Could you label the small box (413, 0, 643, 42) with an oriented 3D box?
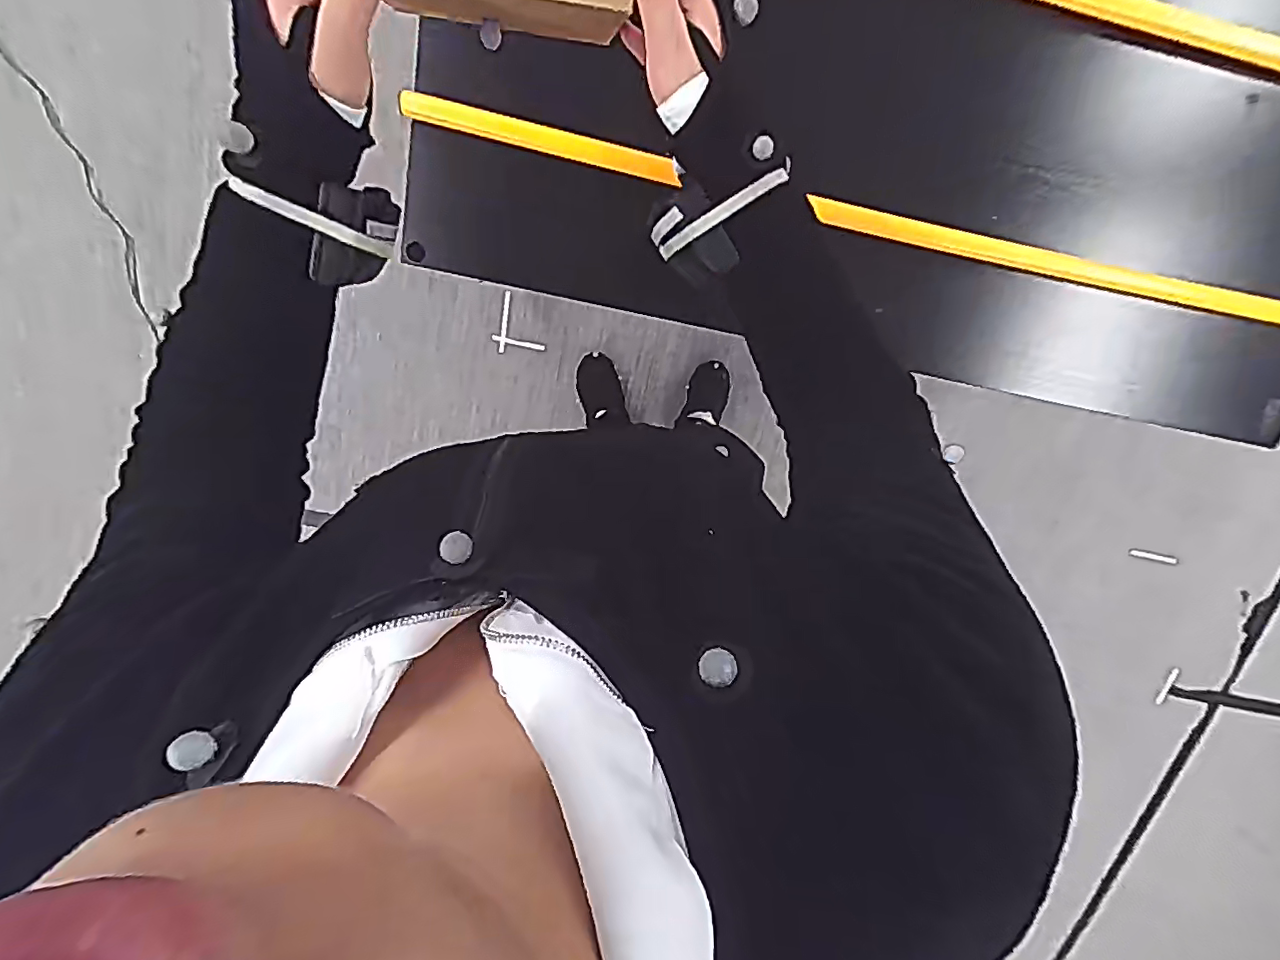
[{"bbox_3d":[-0.078,-0.380,0.306,0.168,0.176,0.179,2,124,-10],"label":"small box"}]
